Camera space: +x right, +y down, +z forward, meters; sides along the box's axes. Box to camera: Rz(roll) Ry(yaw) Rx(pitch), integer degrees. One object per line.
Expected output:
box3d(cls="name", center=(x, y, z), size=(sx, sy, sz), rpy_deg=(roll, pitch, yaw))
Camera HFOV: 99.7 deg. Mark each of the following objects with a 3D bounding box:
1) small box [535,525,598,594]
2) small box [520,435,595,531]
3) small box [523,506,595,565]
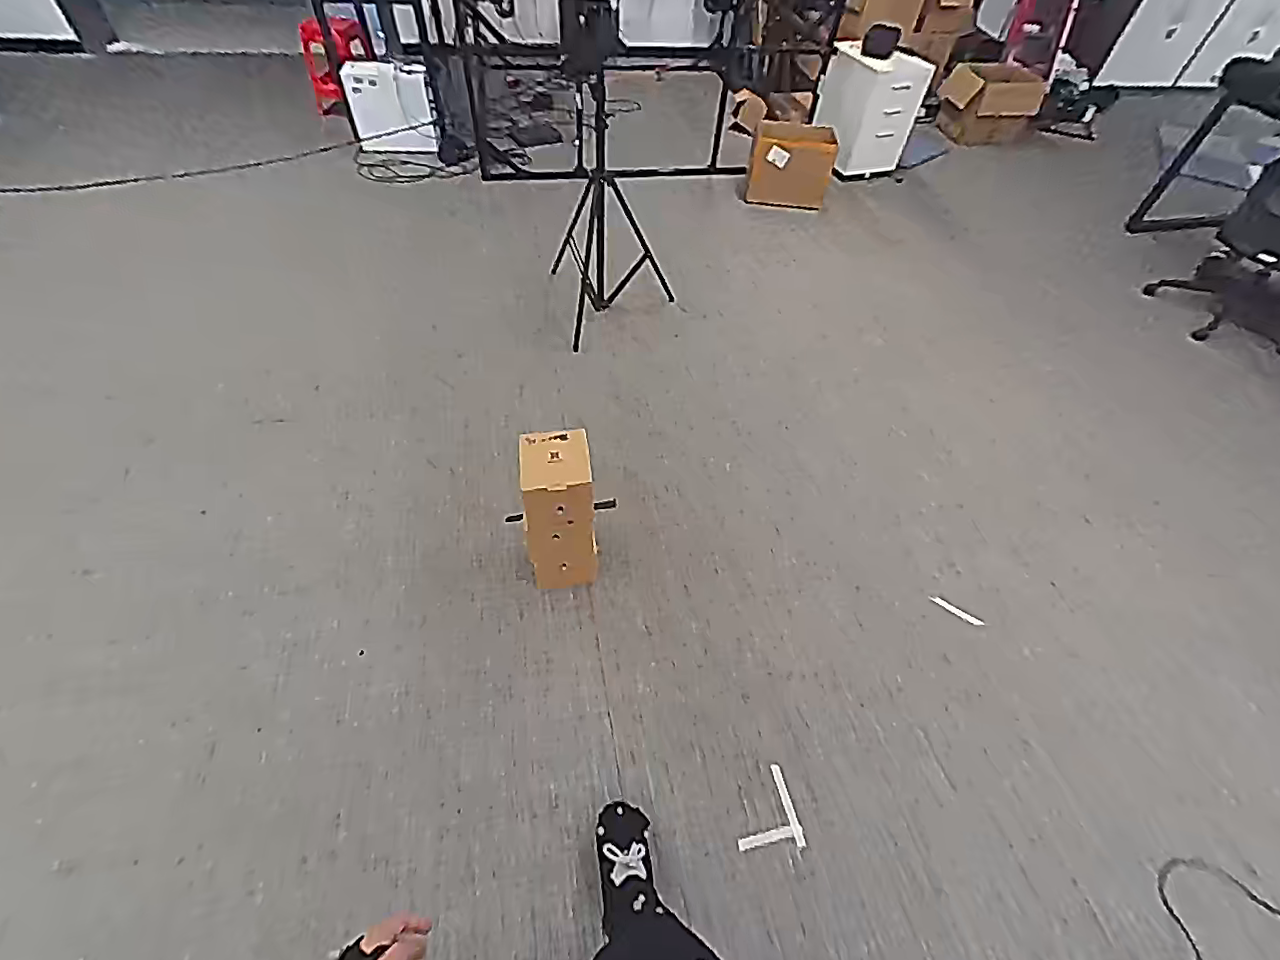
box3d(cls="small box", center=(-0.220, 0.217, 1.594), size=(0.179, 0.176, 0.168), rpy_deg=(-7, 53, -9))
box3d(cls="small box", center=(-0.202, 0.014, 1.337), size=(0.168, 0.176, 0.179), rpy_deg=(-6, 53, -8))
box3d(cls="small box", center=(-0.218, 0.119, 1.462), size=(0.179, 0.176, 0.168), rpy_deg=(-5, 53, -7))
